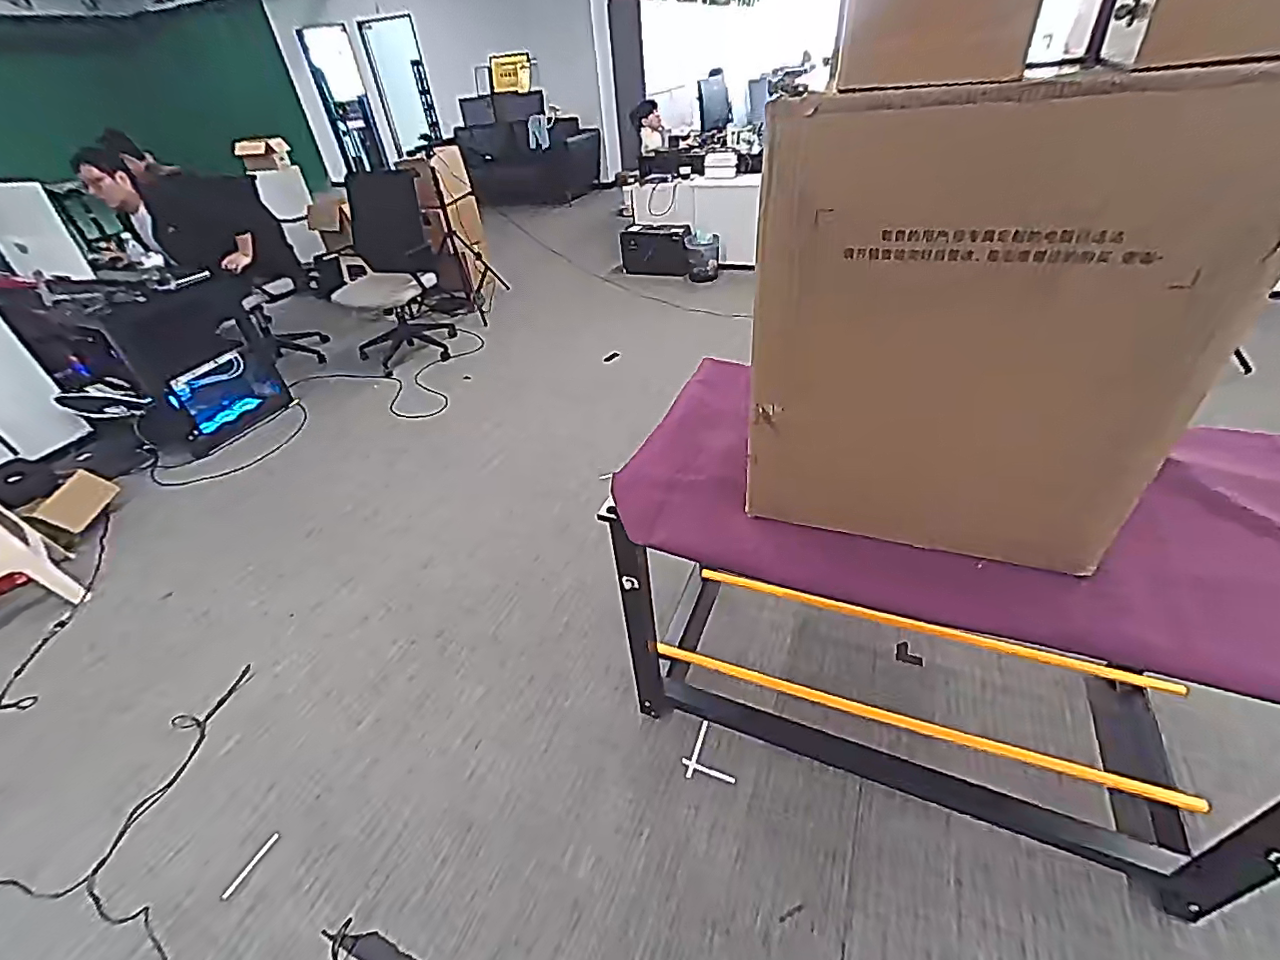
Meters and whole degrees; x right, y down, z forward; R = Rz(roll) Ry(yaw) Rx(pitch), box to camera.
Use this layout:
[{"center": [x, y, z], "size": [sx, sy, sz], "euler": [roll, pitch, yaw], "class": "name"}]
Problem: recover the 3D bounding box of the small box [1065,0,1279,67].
[{"center": [0.624, -0.589, 0.623], "size": [0.168, 0.176, 0.179], "euler": [11, 41, 22], "class": "small box"}]
